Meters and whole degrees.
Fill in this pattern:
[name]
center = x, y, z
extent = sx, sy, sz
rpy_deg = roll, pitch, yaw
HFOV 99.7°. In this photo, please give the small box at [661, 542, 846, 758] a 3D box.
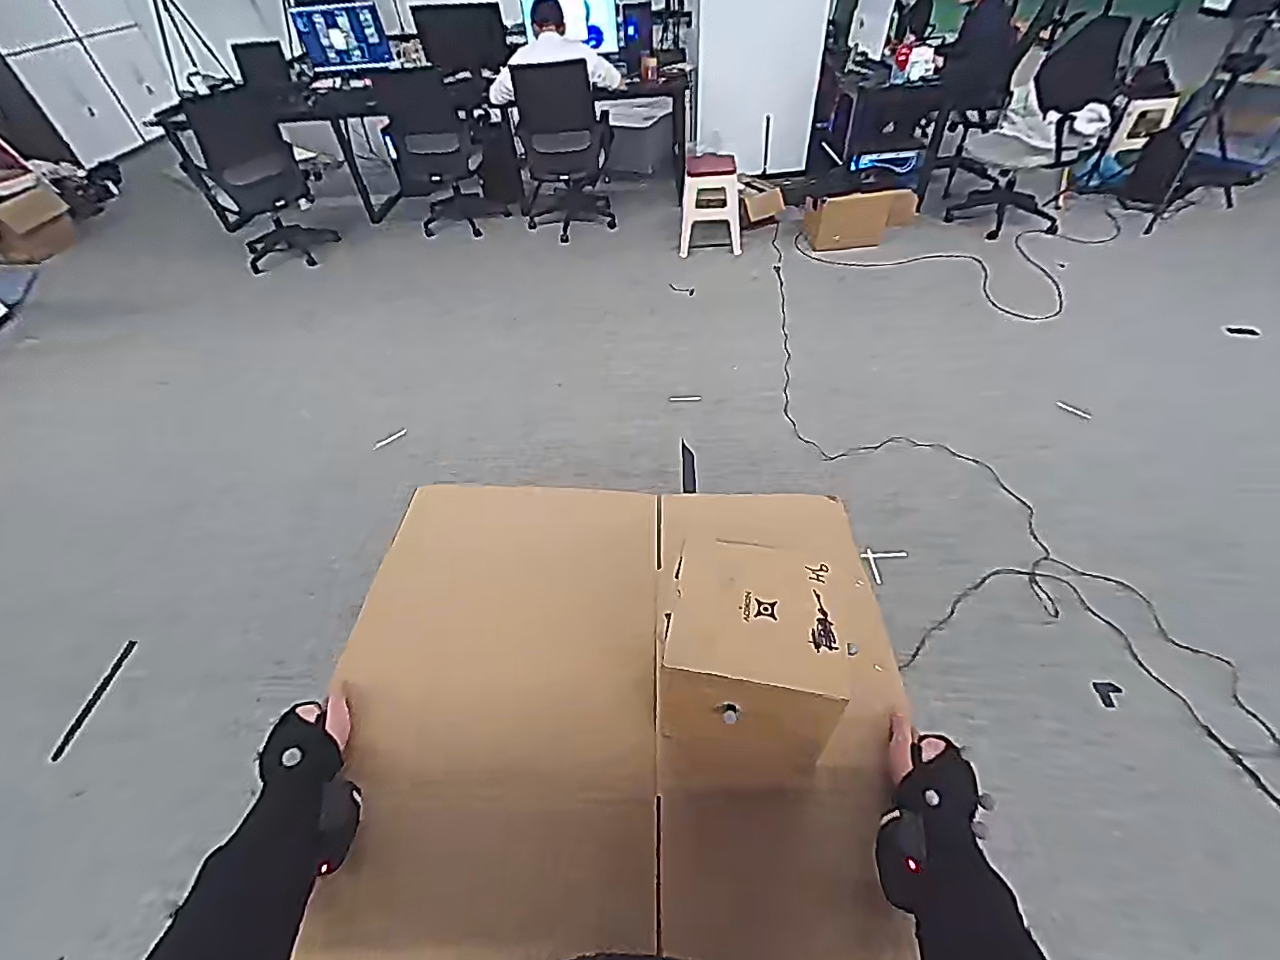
[small box]
center = 0.125, 0.194, 0.619
extent = 0.179, 0.176, 0.168
rpy_deg = 6, 45, 10
